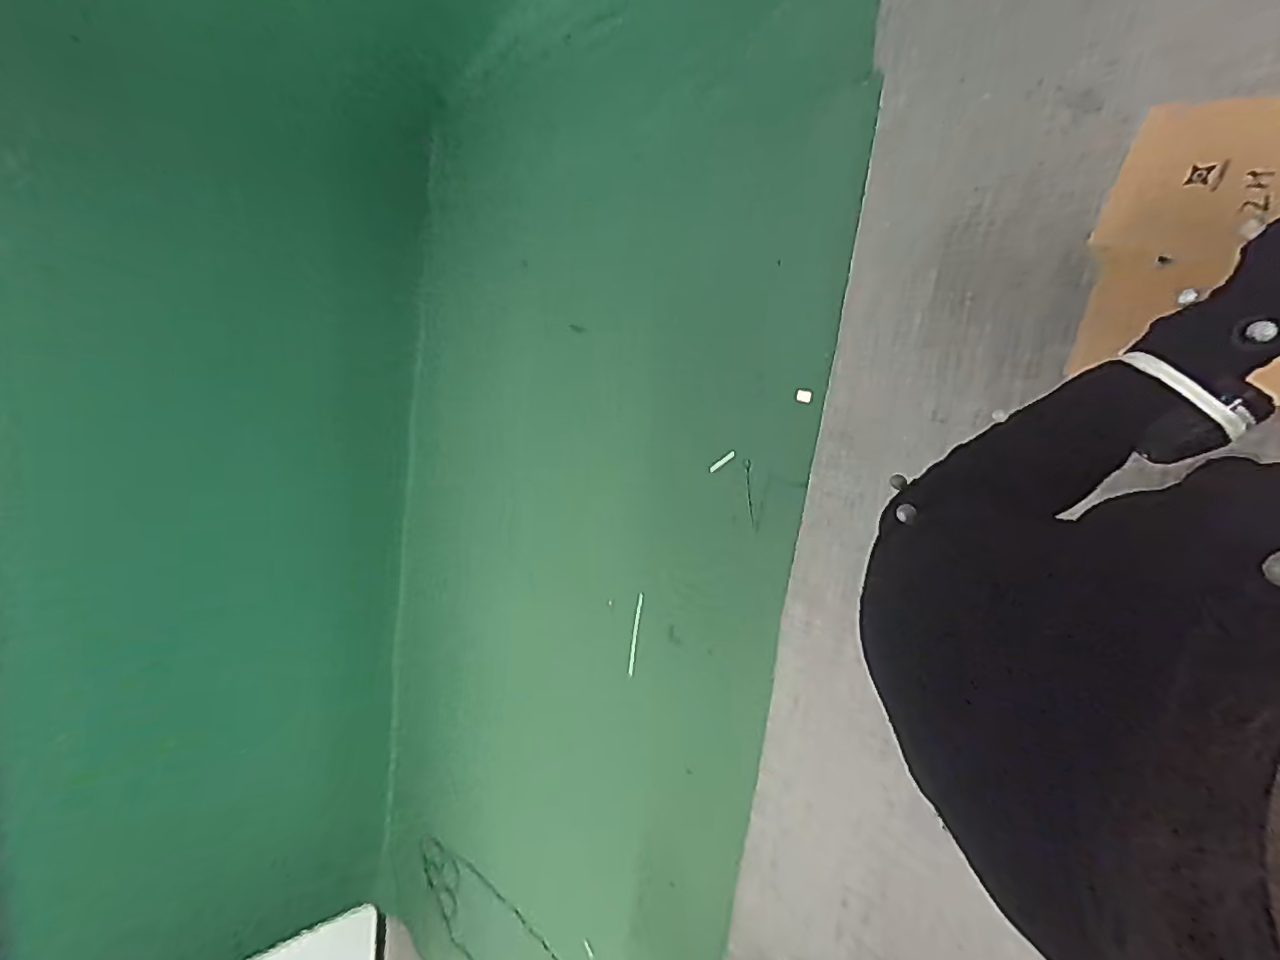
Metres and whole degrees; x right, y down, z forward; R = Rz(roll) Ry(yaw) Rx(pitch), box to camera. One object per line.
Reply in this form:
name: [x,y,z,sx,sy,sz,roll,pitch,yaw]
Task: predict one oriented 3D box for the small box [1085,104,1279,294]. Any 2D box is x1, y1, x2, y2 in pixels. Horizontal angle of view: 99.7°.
small box: [0.722,-0.350,0.693,0.179,0.176,0.168,30,111,41]
